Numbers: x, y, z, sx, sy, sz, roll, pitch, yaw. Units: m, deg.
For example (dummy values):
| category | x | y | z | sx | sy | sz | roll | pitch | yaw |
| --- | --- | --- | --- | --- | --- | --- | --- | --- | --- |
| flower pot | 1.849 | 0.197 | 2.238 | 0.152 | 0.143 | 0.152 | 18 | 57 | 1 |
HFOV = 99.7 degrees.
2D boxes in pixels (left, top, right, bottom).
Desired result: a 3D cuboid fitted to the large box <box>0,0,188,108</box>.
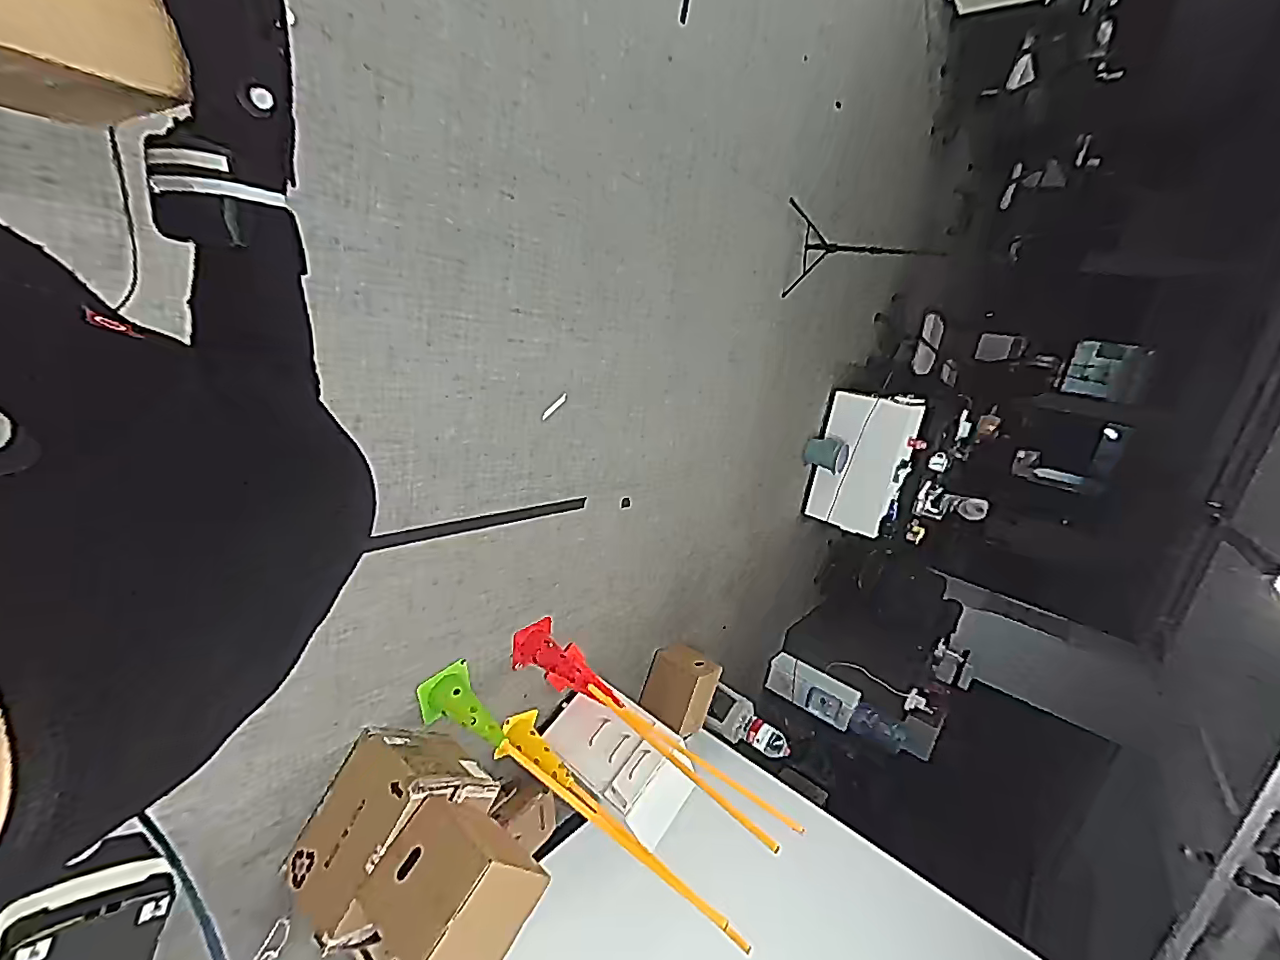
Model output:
| category | x | y | z | sx | sy | sz | roll | pitch | yaw |
| --- | --- | --- | --- | --- | --- | --- | --- | --- | --- |
| large box | -0.529 | -0.427 | 0.254 | 0.408 | 0.320 | 0.320 | -16 | 121 | -51 |
